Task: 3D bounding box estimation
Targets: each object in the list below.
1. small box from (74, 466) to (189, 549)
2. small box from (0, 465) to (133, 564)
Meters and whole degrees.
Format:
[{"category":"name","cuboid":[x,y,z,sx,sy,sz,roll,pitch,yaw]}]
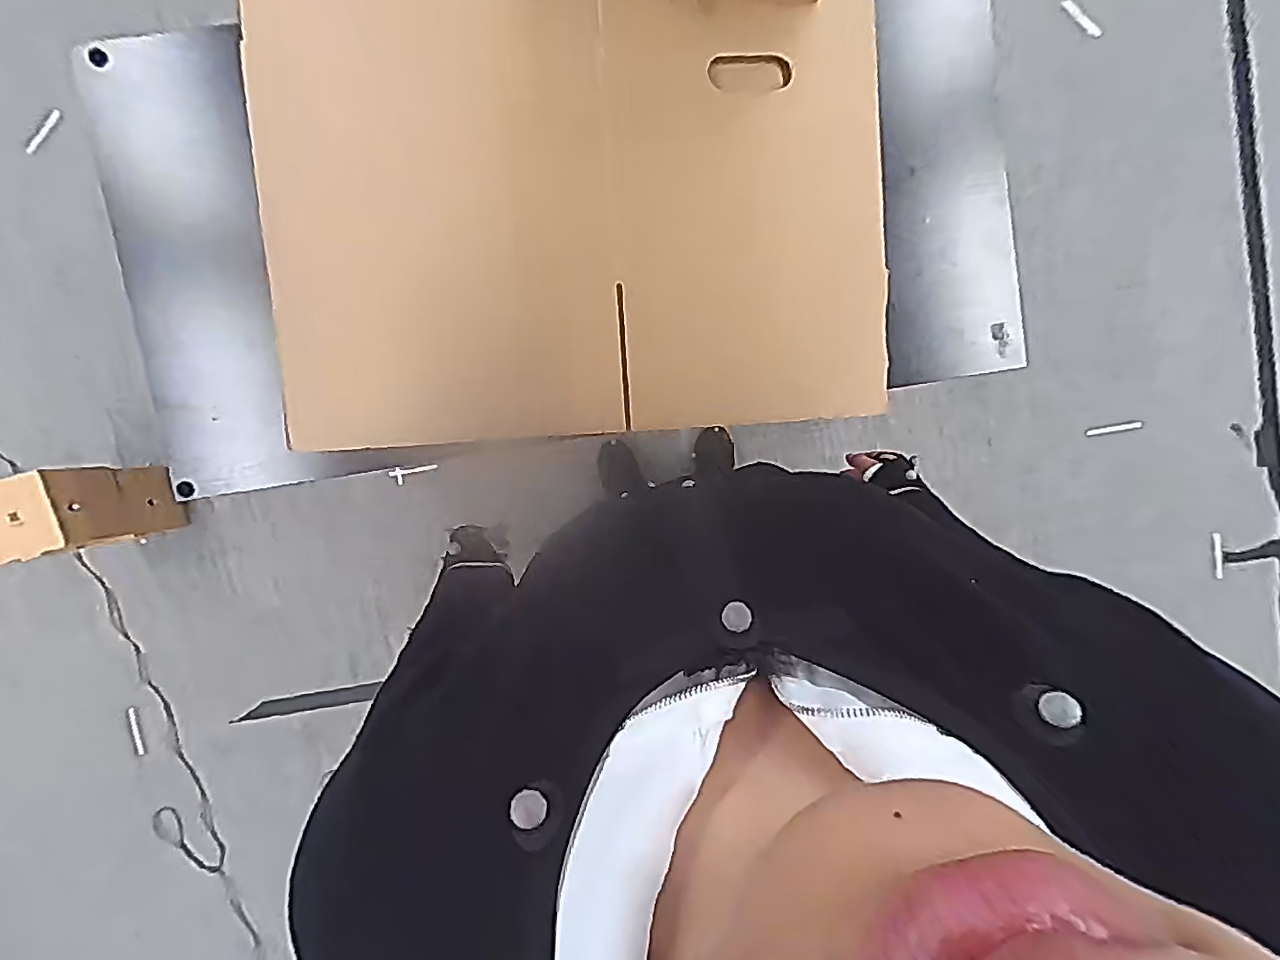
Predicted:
[{"category":"small box","cuboid":[-1.323,0.063,1.391,0.168,0.176,0.179,-13,96,0]},{"category":"small box","cuboid":[-1.320,0.070,1.228,0.168,0.176,0.179,-16,94,-1]}]
